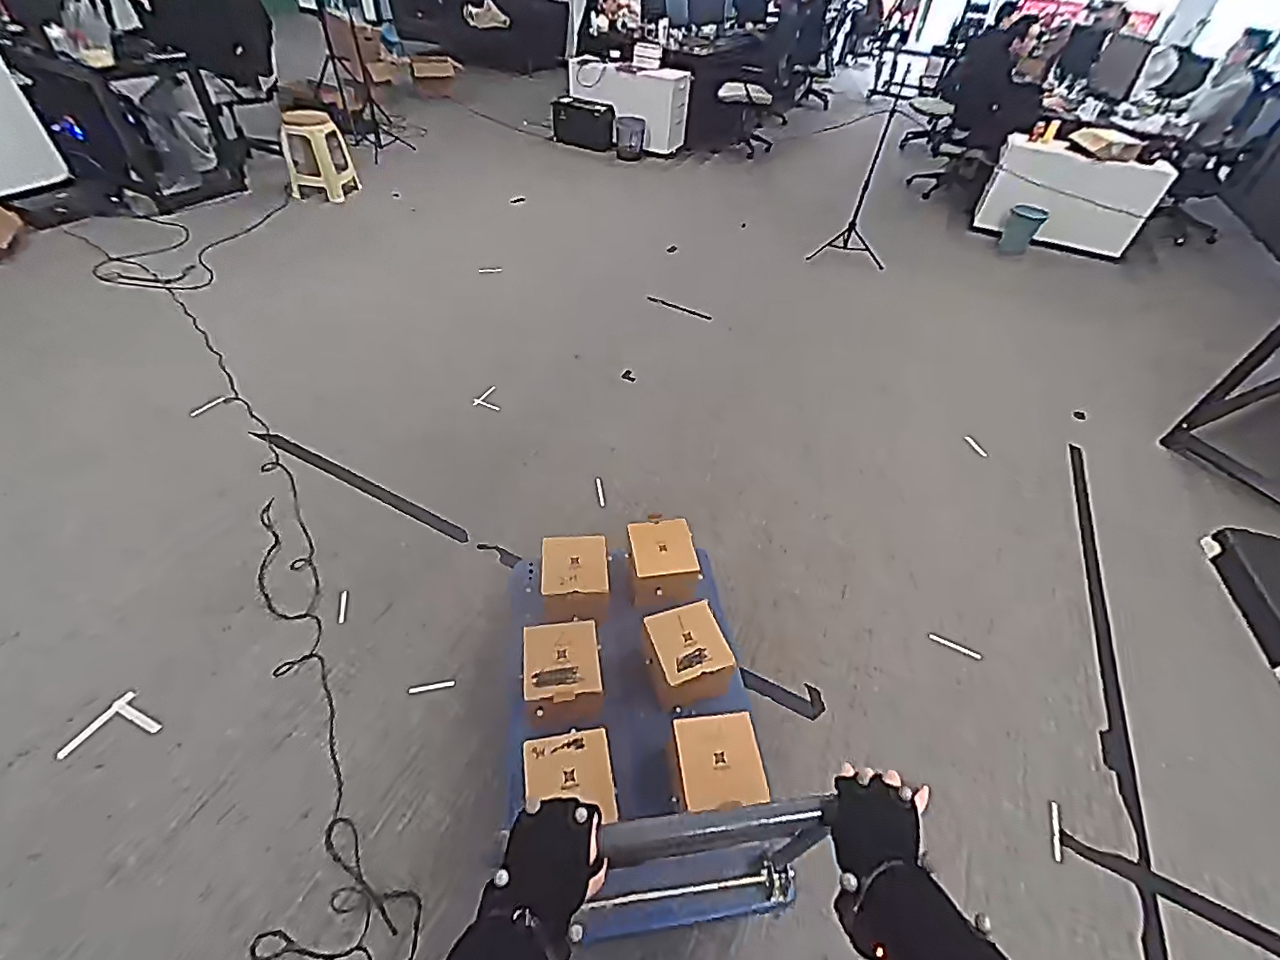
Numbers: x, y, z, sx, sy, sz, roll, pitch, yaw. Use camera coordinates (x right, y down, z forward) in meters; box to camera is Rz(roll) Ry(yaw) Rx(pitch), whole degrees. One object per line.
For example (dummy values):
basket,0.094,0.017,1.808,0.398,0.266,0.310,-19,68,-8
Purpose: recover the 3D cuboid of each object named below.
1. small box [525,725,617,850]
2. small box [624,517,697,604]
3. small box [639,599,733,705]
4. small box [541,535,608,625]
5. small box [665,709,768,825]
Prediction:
small box,-0.141,0.624,1.090,0.168,0.176,0.179,-4,47,-12
small box,0.050,0.228,1.496,0.168,0.176,0.179,-5,47,-10
small box,0.104,0.423,1.312,0.168,0.176,0.179,-12,48,-17
small box,-0.174,0.265,1.435,0.168,0.176,0.179,-2,47,-7
small box,0.152,0.608,1.140,0.168,0.176,0.179,-2,46,-9
